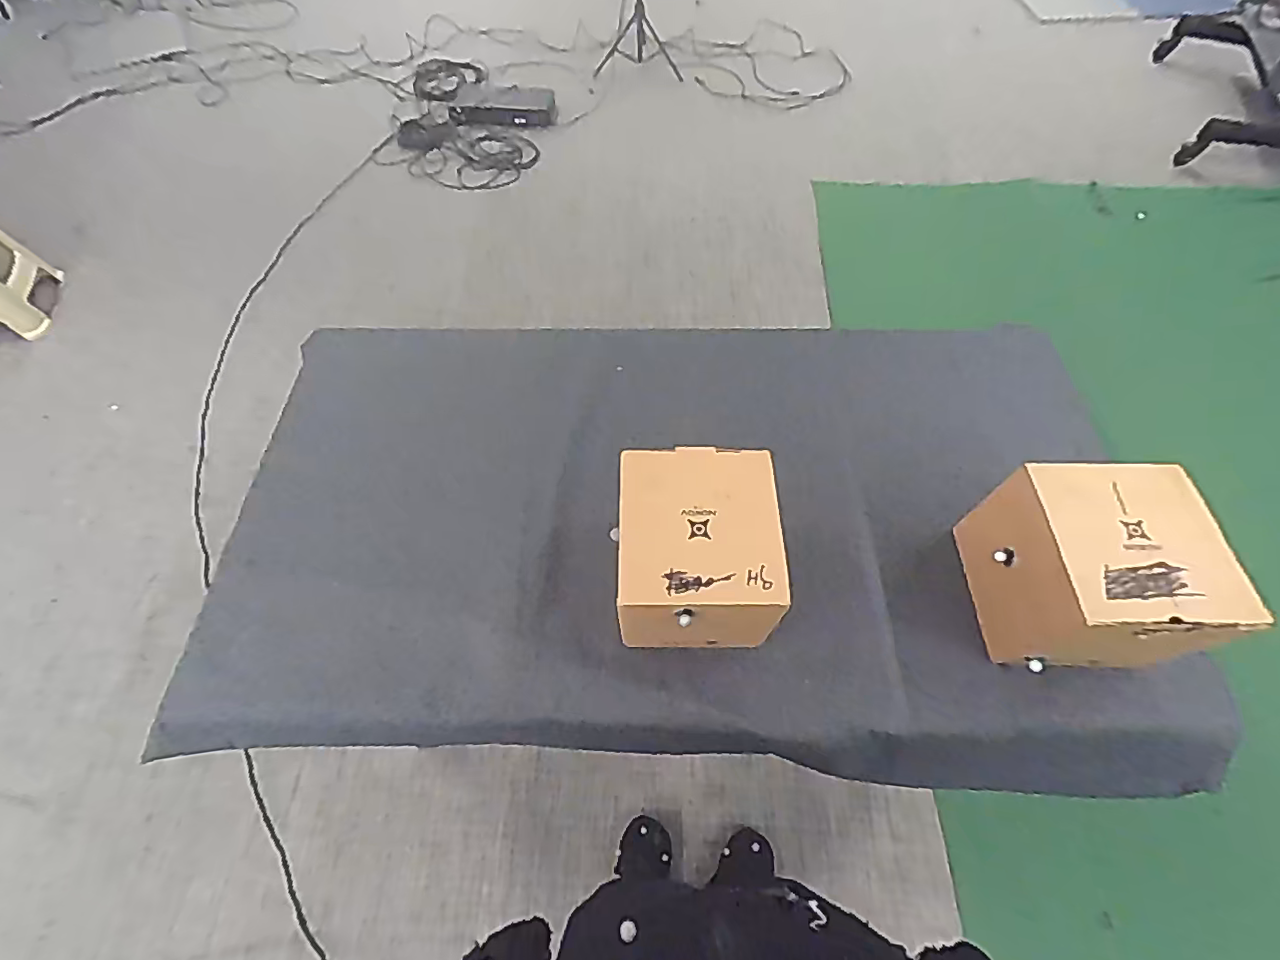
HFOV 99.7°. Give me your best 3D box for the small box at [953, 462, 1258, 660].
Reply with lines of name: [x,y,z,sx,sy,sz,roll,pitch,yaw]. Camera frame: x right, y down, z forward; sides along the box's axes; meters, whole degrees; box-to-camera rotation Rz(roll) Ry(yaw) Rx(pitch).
small box: [0.489,0.097,0.607,0.168,0.176,0.179,1,59,2]

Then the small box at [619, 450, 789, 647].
small box: [0.062,0.082,0.625,0.168,0.176,0.179,0,59,1]
